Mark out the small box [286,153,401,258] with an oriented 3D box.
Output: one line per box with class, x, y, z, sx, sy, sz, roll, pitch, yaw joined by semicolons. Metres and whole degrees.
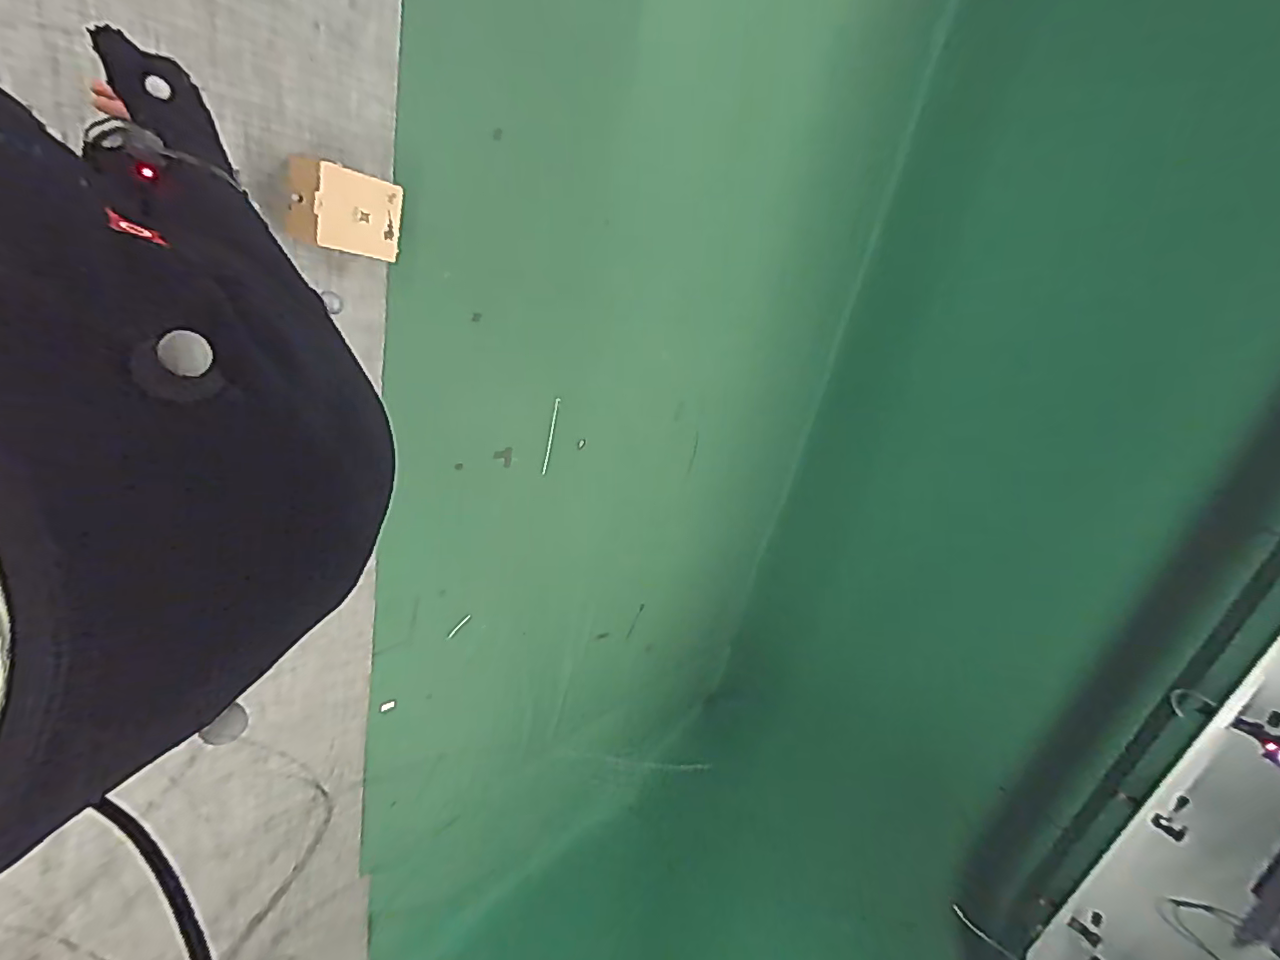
small box;-0.668;-0.613;1.211;0.179;0.176;0.168;-7;119;-50
